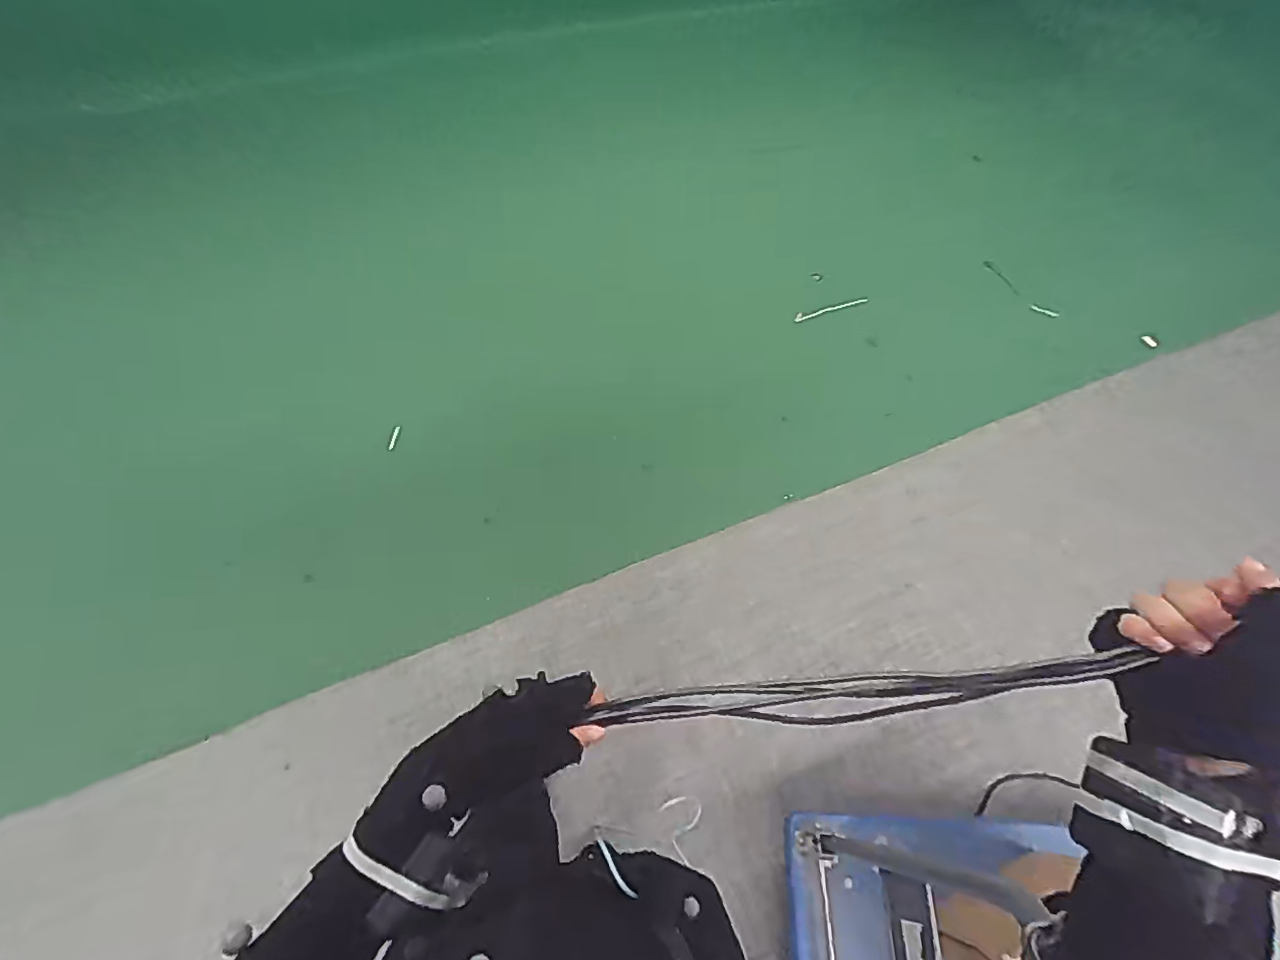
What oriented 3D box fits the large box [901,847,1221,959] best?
[{"bbox_3d":[0.692,0.849,0.818,0.320,0.320,0.408,-17,61,-11],"label":"large box"}]
